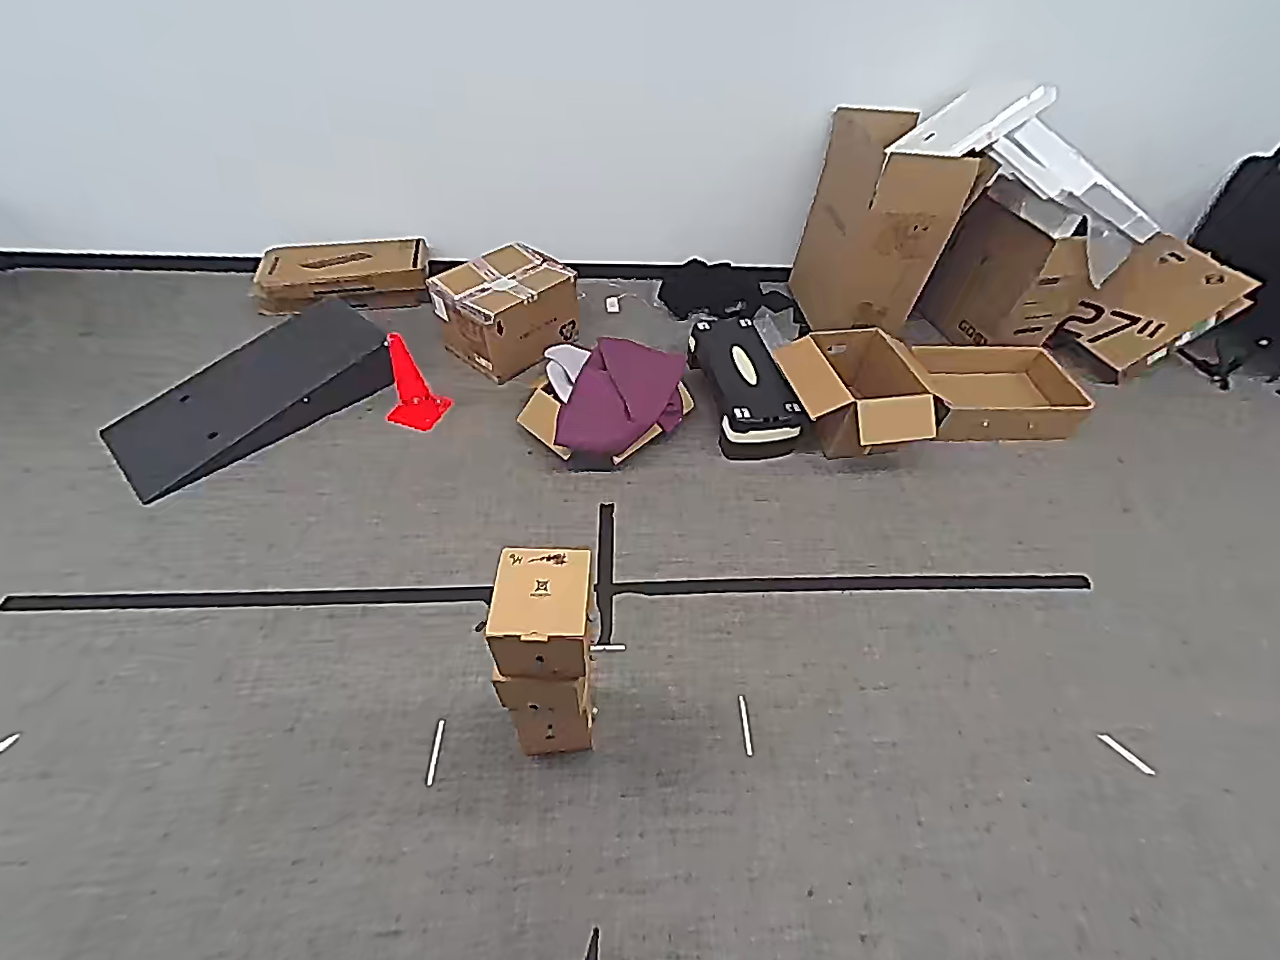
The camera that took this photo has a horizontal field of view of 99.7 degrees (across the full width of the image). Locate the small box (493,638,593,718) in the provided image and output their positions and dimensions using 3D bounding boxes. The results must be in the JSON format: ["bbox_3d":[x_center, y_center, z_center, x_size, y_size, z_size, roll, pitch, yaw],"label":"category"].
[{"bbox_3d":[-0.189,0.367,1.110,0.168,0.176,0.179,4,50,1],"label":"small box"}]

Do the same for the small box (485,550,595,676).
[{"bbox_3d":[-0.173,0.248,0.997,0.168,0.176,0.179,2,49,-1],"label":"small box"}]

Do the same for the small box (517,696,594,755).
[{"bbox_3d":[-0.208,0.578,1.359,0.179,0.176,0.168,-2,49,-6],"label":"small box"}]

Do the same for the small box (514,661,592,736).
[{"bbox_3d":[-0.195,0.469,1.237,0.168,0.176,0.179,0,49,-3],"label":"small box"}]
